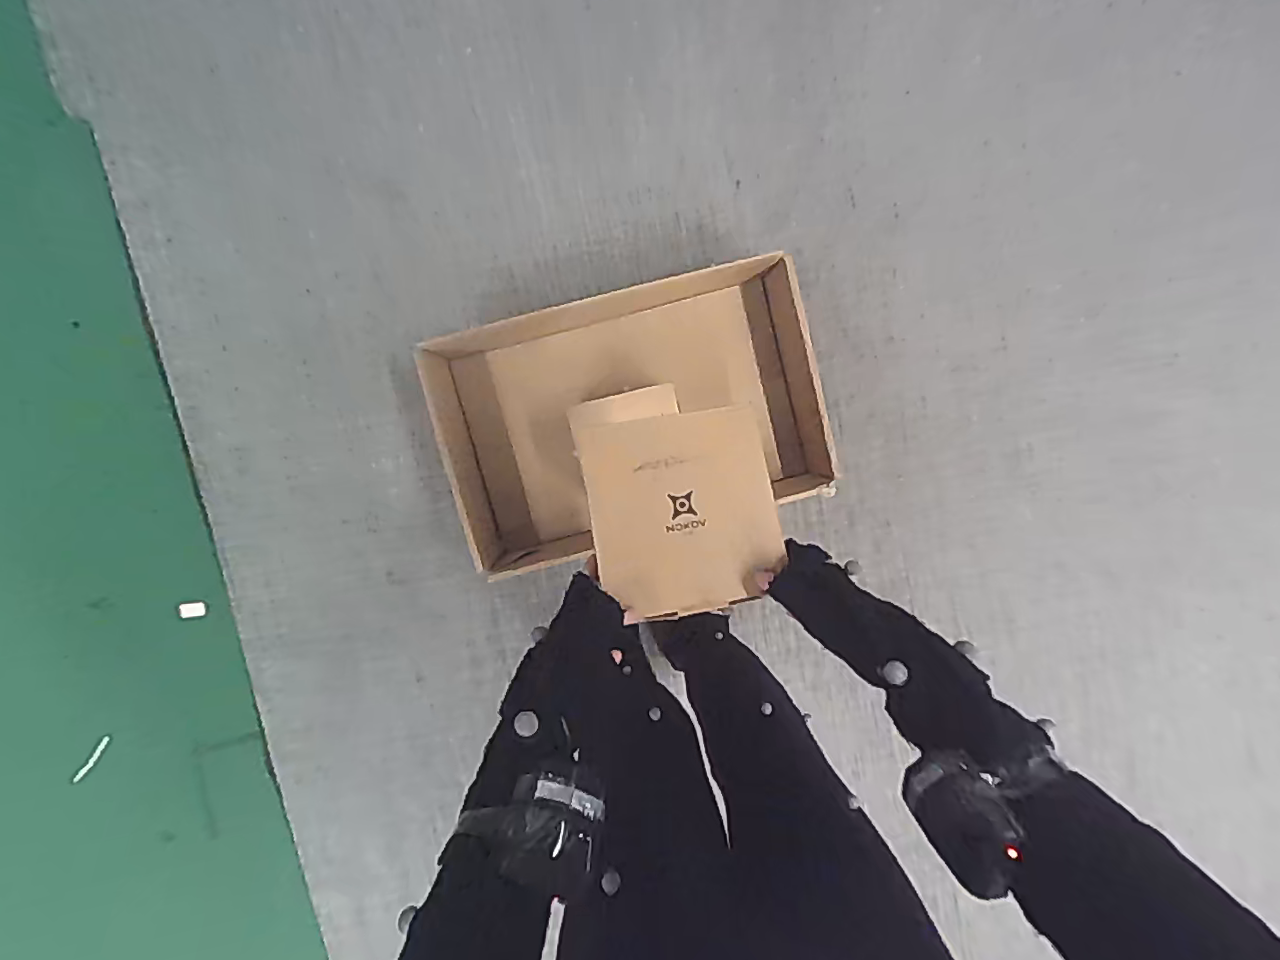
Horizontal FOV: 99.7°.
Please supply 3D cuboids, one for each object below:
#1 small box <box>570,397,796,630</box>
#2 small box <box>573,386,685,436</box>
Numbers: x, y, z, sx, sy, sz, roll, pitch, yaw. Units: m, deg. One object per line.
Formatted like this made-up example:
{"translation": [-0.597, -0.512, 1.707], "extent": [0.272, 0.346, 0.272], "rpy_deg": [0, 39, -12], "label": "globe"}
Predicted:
{"translation": [0.034, 0.038, 0.551], "extent": [0.168, 0.176, 0.179], "rpy_deg": [-15, 81, -5], "label": "small box"}
{"translation": [-0.005, -0.061, 0.933], "extent": [0.179, 0.176, 0.168], "rpy_deg": [-14, 95, 2], "label": "small box"}
